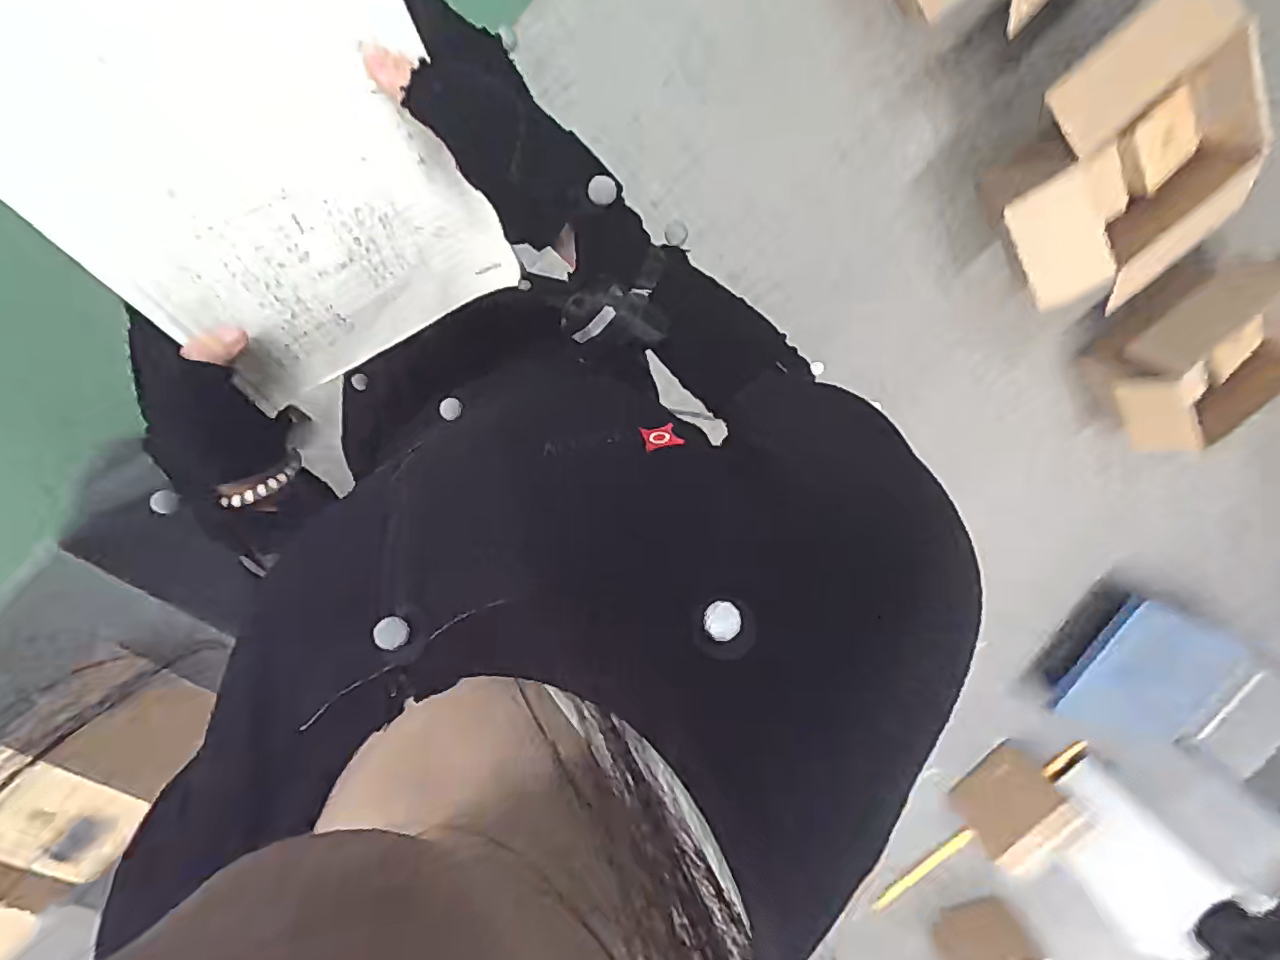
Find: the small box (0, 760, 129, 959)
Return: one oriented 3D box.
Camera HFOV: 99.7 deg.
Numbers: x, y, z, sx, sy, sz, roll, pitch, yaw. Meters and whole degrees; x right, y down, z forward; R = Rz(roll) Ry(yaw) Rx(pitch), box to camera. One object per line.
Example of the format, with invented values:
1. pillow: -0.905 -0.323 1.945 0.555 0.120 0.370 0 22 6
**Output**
1. small box: -0.864 0.527 0.729 0.179 0.176 0.168 -41 115 6
